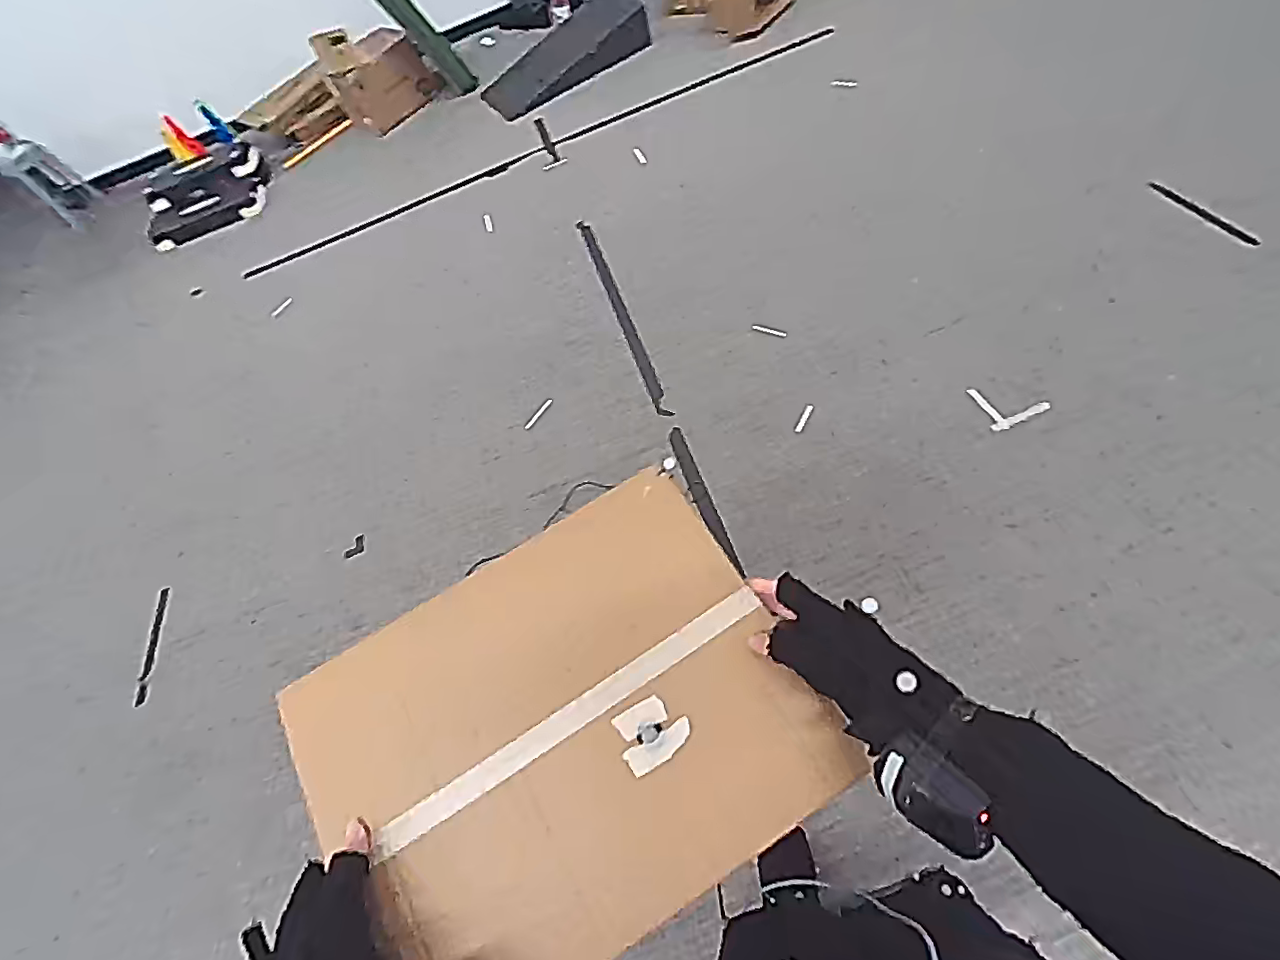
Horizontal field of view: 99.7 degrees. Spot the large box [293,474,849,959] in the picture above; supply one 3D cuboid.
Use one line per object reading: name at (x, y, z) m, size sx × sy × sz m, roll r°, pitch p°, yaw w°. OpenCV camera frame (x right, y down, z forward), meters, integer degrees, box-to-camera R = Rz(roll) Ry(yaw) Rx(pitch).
large box at (-0.060, 0.271, 0.600) m, size 0.408 × 0.320 × 0.320 m, roll -32°, pitch 68°, yaw -9°
